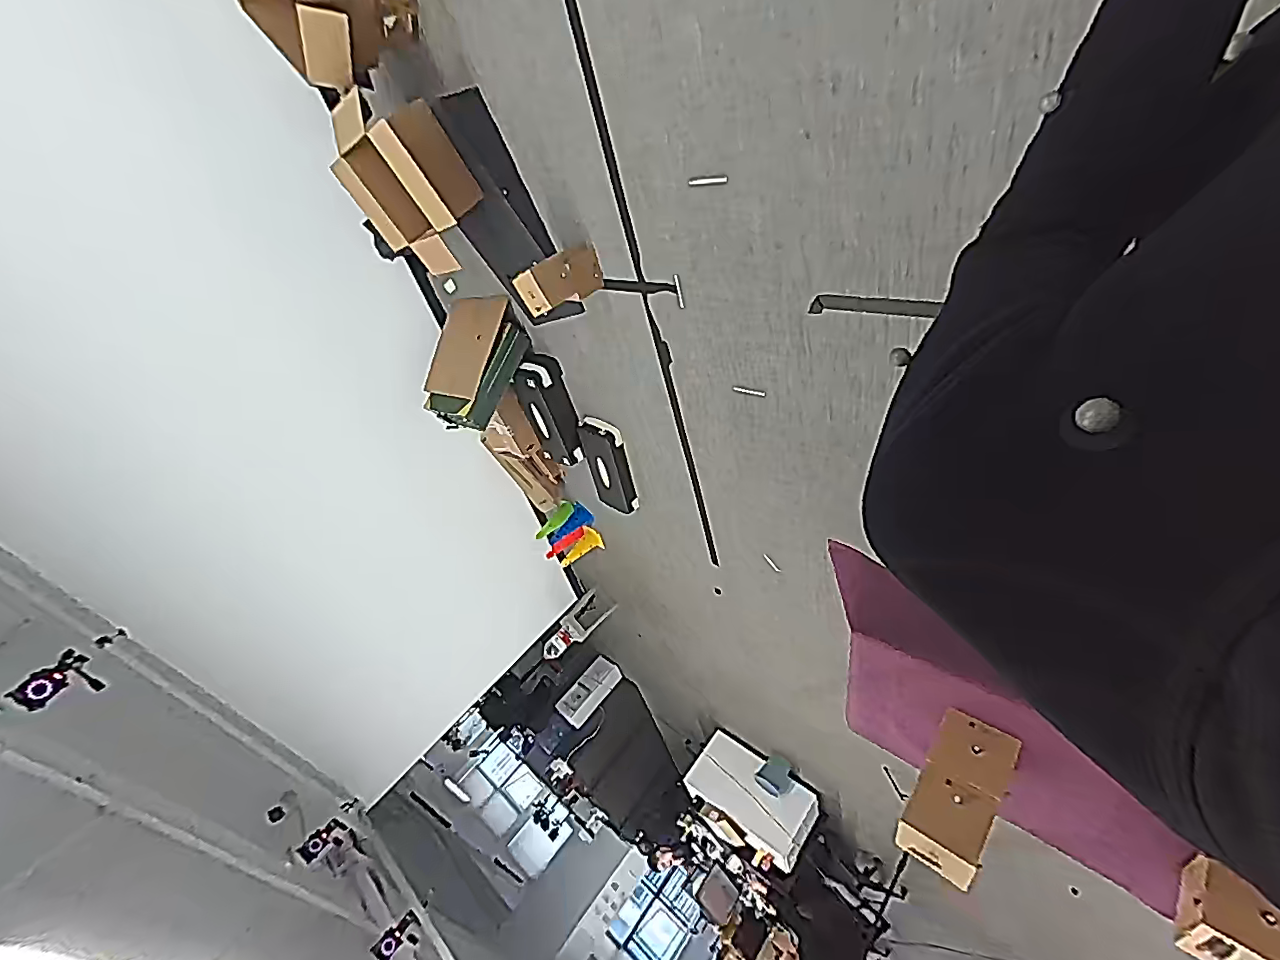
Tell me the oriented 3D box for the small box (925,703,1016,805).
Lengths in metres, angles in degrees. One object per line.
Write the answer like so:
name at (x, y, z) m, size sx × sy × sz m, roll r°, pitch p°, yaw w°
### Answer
small box at (0.847, 0.716, 1.398) m, size 0.168 × 0.176 × 0.179 m, roll 21°, pitch 143°, yaw 38°

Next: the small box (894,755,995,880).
small box at (0.744, 0.822, 1.326) m, size 0.168 × 0.176 × 0.179 m, roll 21°, pitch 142°, yaw 38°
